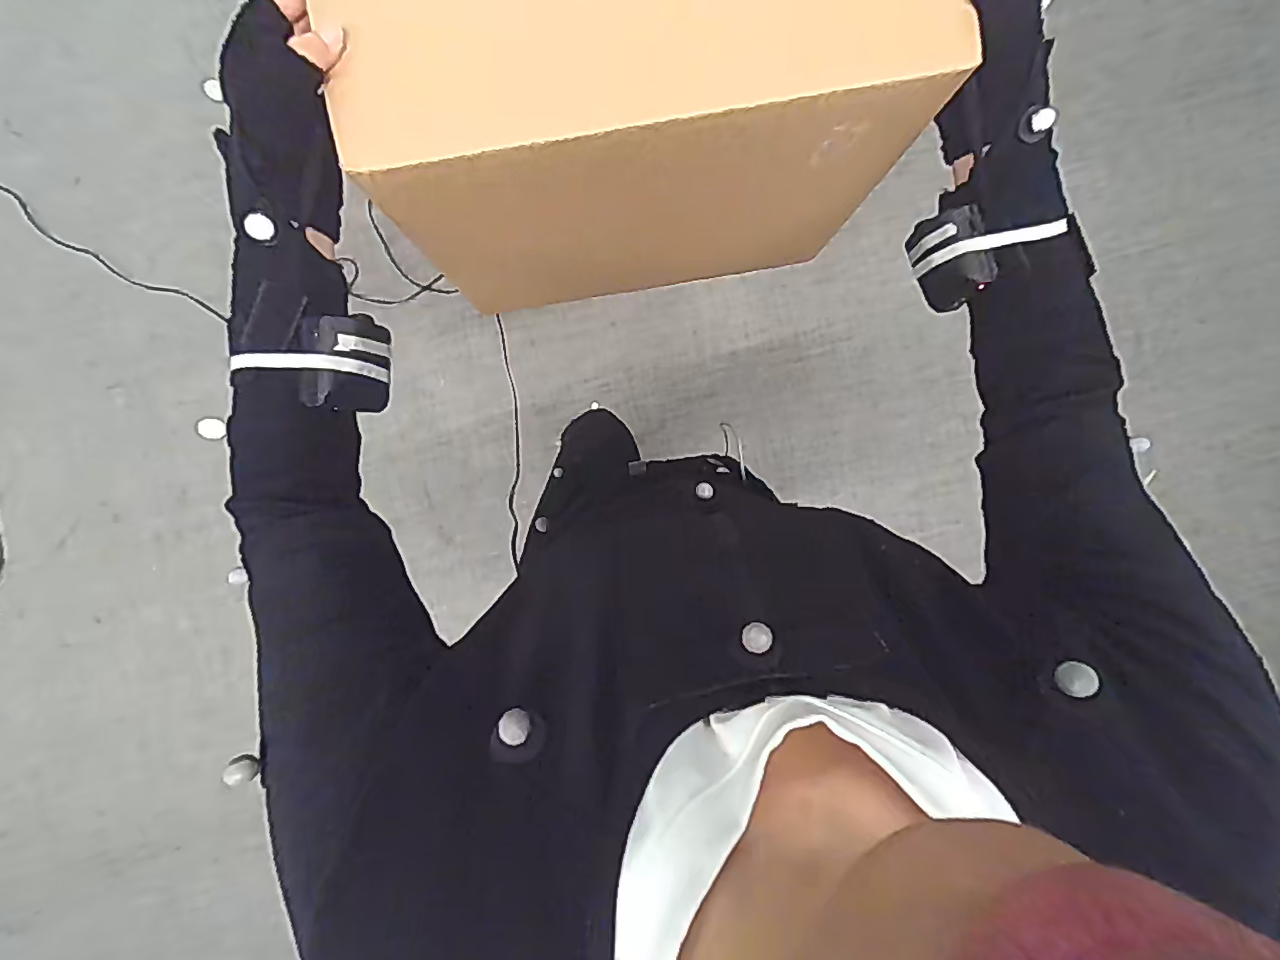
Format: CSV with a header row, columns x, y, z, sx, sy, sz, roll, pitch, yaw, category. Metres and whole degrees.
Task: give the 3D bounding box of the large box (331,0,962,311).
x,y,z,sx,sy,sz,roll,pitch,yaw,category
-0.016,-0.383,0.496,0.408,0.320,0.320,-11,91,-2,large box
